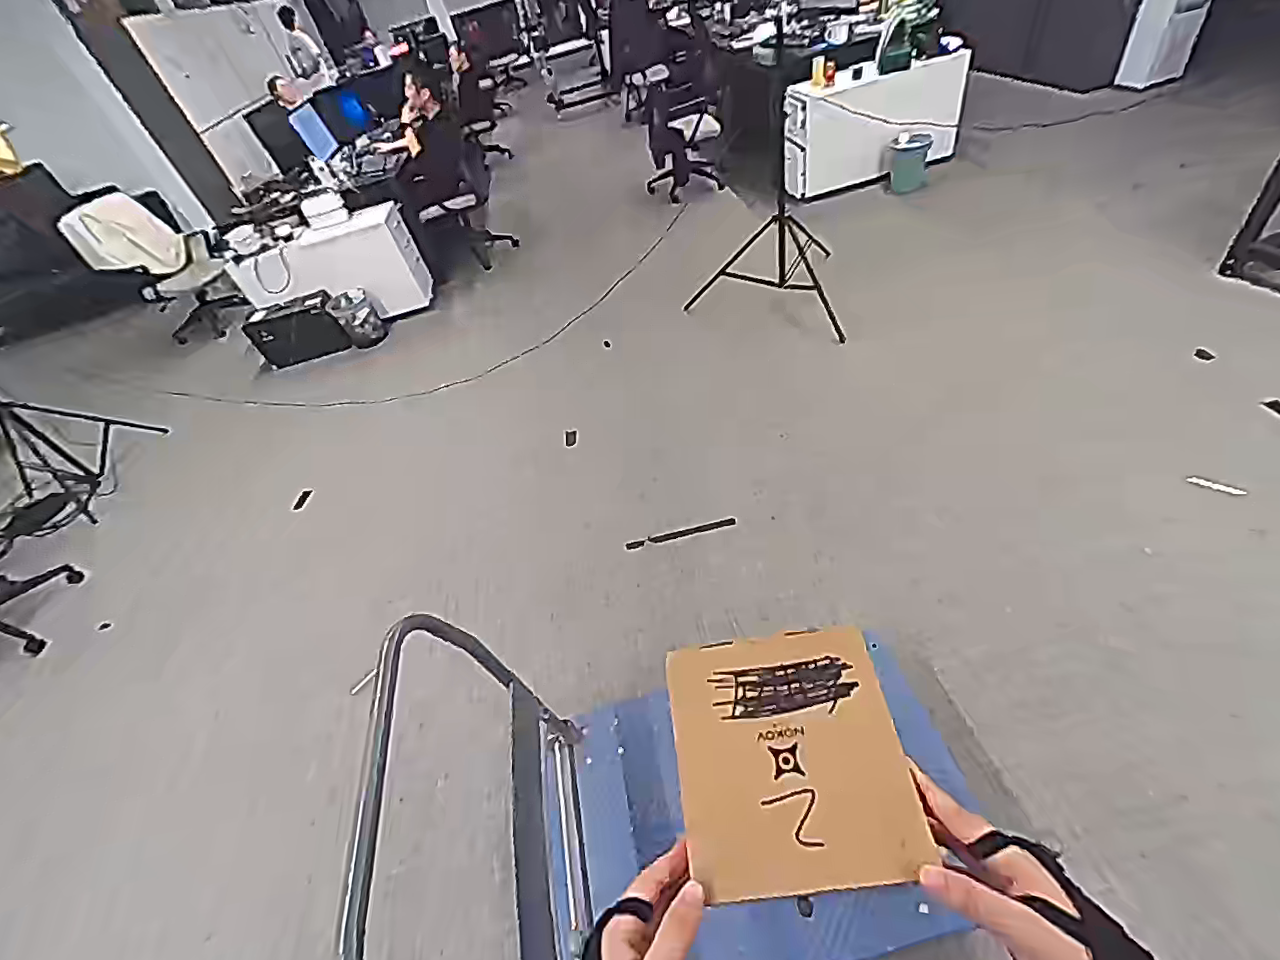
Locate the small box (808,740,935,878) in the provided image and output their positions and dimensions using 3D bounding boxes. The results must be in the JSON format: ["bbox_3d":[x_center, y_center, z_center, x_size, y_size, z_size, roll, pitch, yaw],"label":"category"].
[{"bbox_3d":[0.427,0.629,1.033,0.168,0.176,0.179,-14,44,3],"label":"small box"}]
